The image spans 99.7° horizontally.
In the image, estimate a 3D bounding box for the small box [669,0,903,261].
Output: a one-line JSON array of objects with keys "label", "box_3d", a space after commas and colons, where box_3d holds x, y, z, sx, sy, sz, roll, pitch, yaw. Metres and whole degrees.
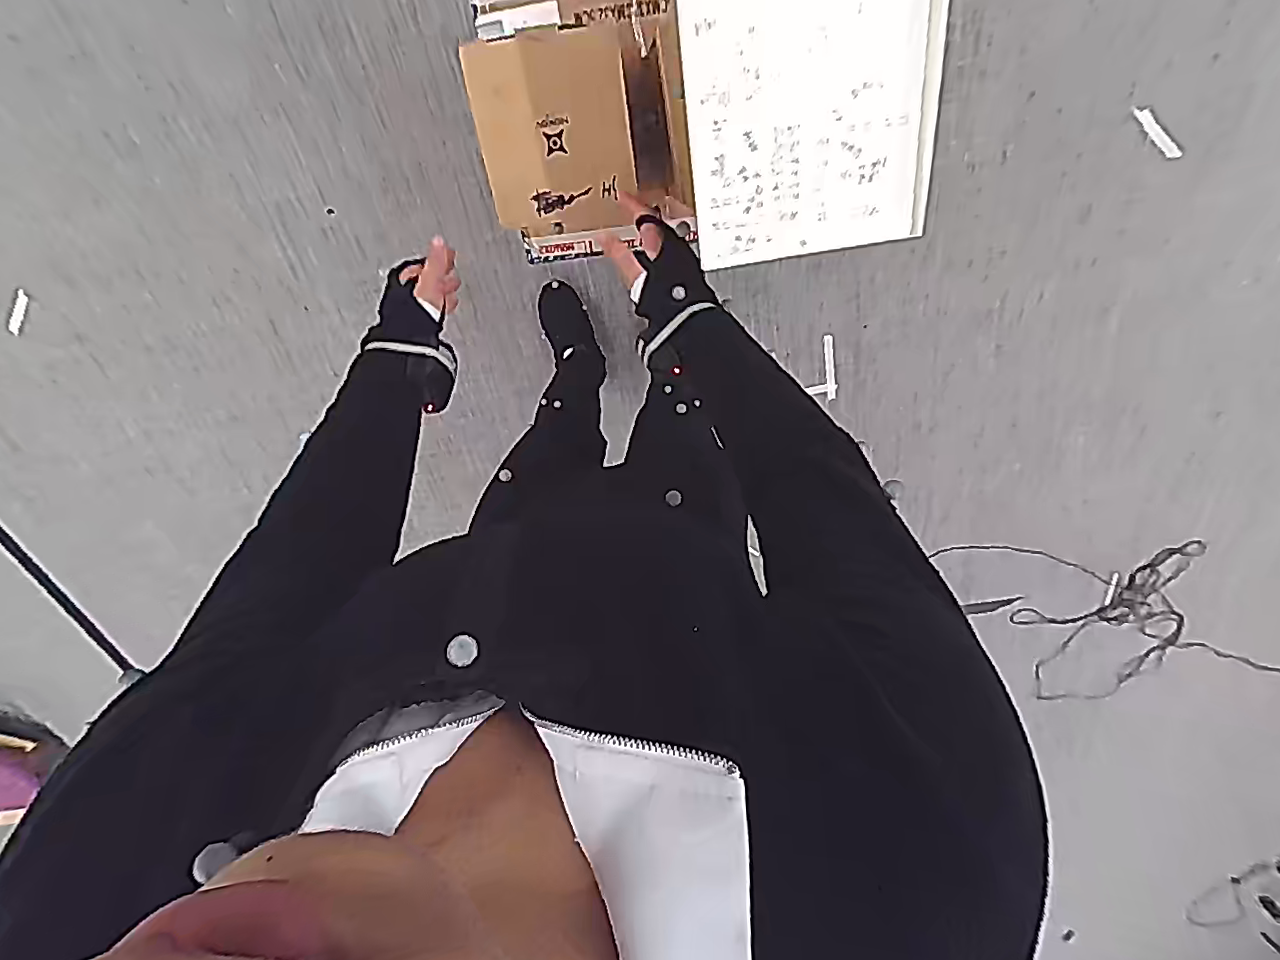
[{"label": "small box", "box_3d": [0.123, -0.324, 0.516, 0.168, 0.176, 0.179, -9, 122, 1]}]
